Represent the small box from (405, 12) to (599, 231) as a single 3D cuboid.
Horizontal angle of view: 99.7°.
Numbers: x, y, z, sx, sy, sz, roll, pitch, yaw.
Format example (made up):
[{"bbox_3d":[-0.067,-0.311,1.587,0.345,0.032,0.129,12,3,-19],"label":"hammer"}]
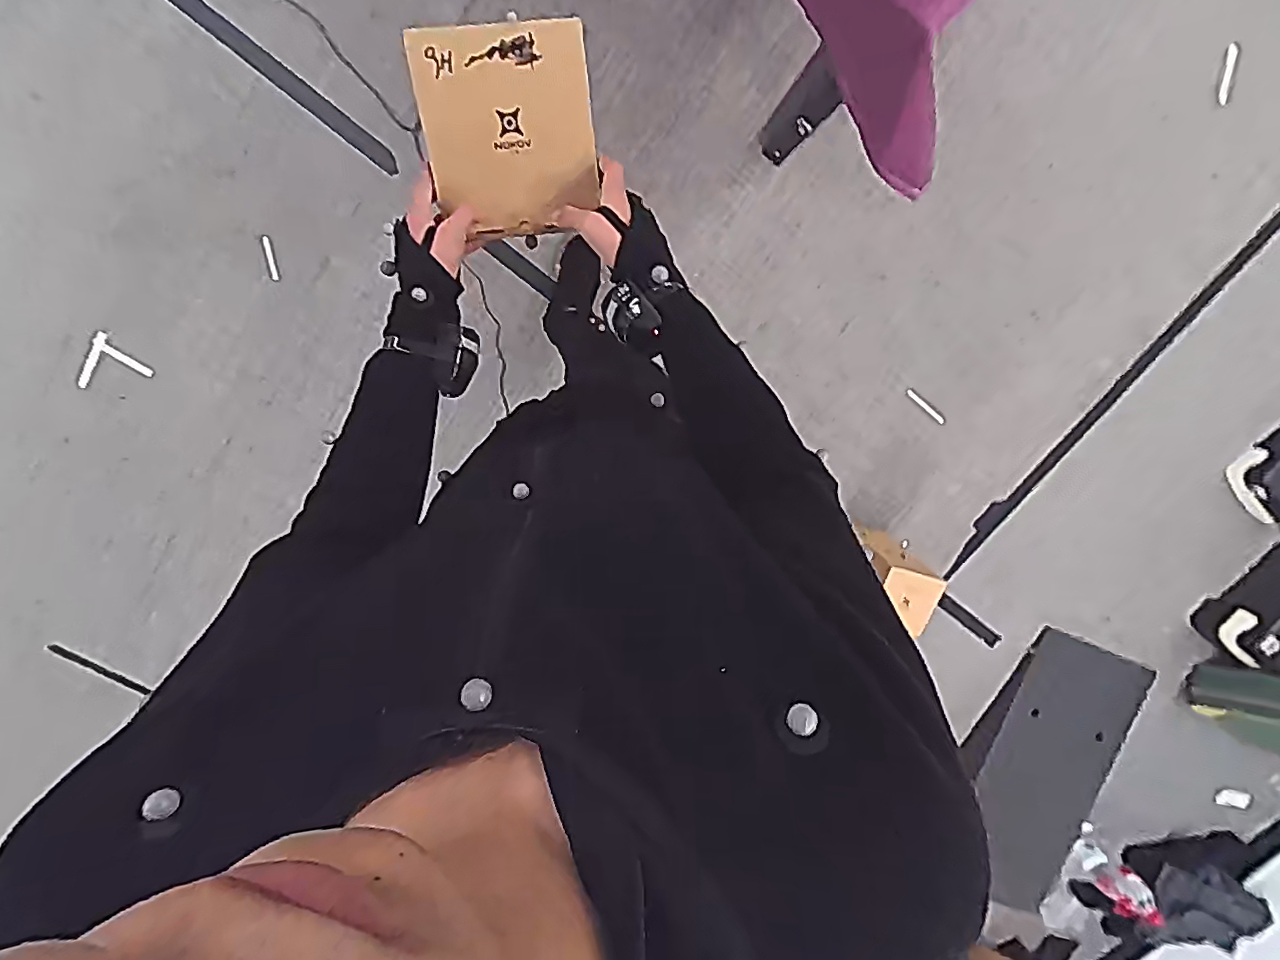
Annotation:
[{"bbox_3d":[-0.138,-0.381,0.606,0.168,0.176,0.179,-8,114,-5],"label":"small box"}]
